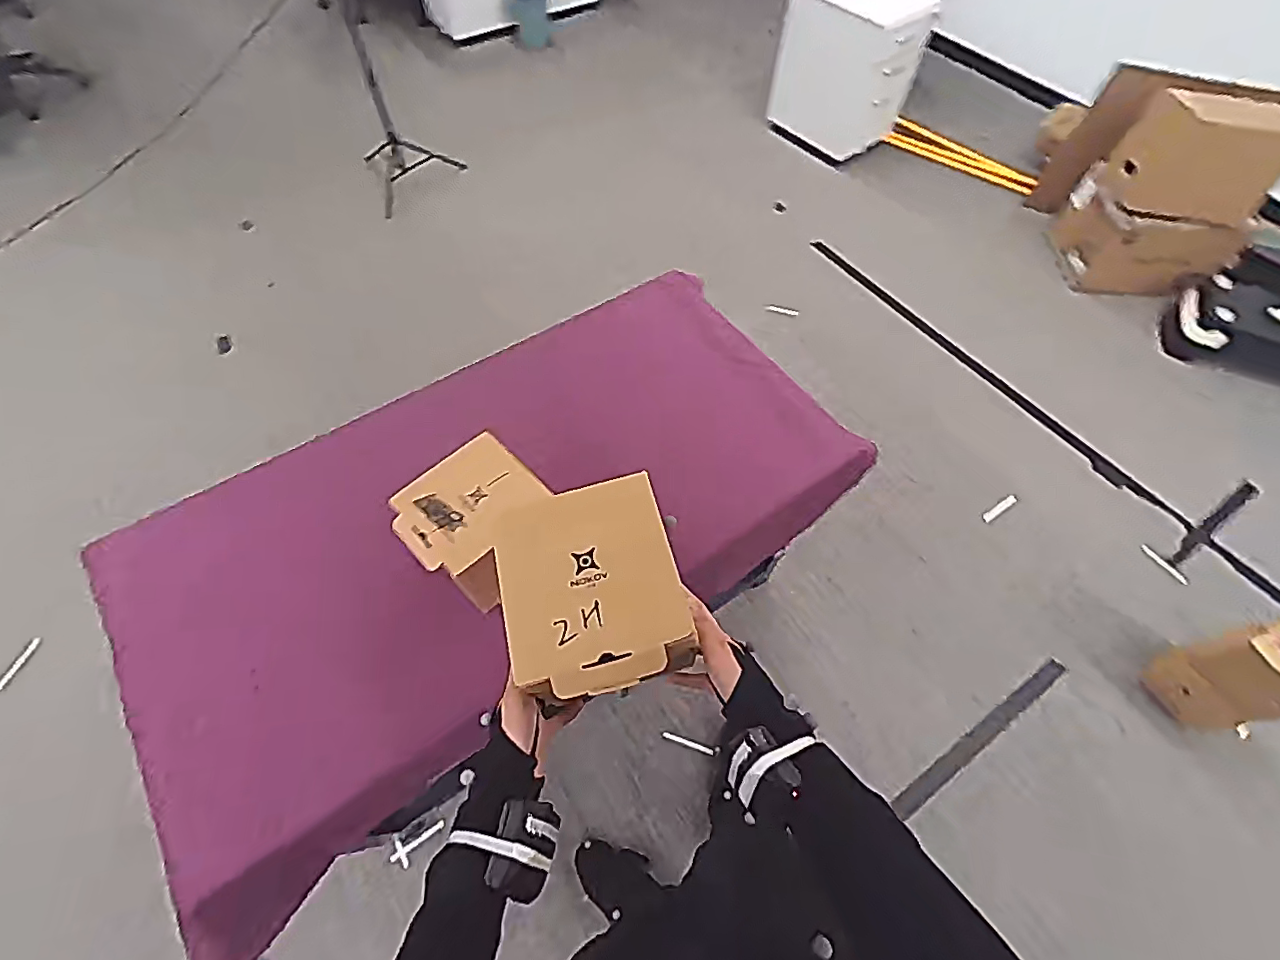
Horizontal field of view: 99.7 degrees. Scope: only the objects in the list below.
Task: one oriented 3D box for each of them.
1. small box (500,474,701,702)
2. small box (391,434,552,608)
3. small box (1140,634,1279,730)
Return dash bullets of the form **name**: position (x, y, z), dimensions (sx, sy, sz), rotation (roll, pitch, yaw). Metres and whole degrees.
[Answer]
- **small box**: position (-0.039, 0.122, 0.579), dimensions (0.168, 0.176, 0.179), rotation (-14, 62, -3)
- **small box**: position (-0.241, 0.070, 0.842), dimensions (0.168, 0.176, 0.179), rotation (41, 67, 20)
- **small box**: position (1.504, 0.544, 1.441), dimensions (0.179, 0.176, 0.168), rotation (-27, 64, -16)
